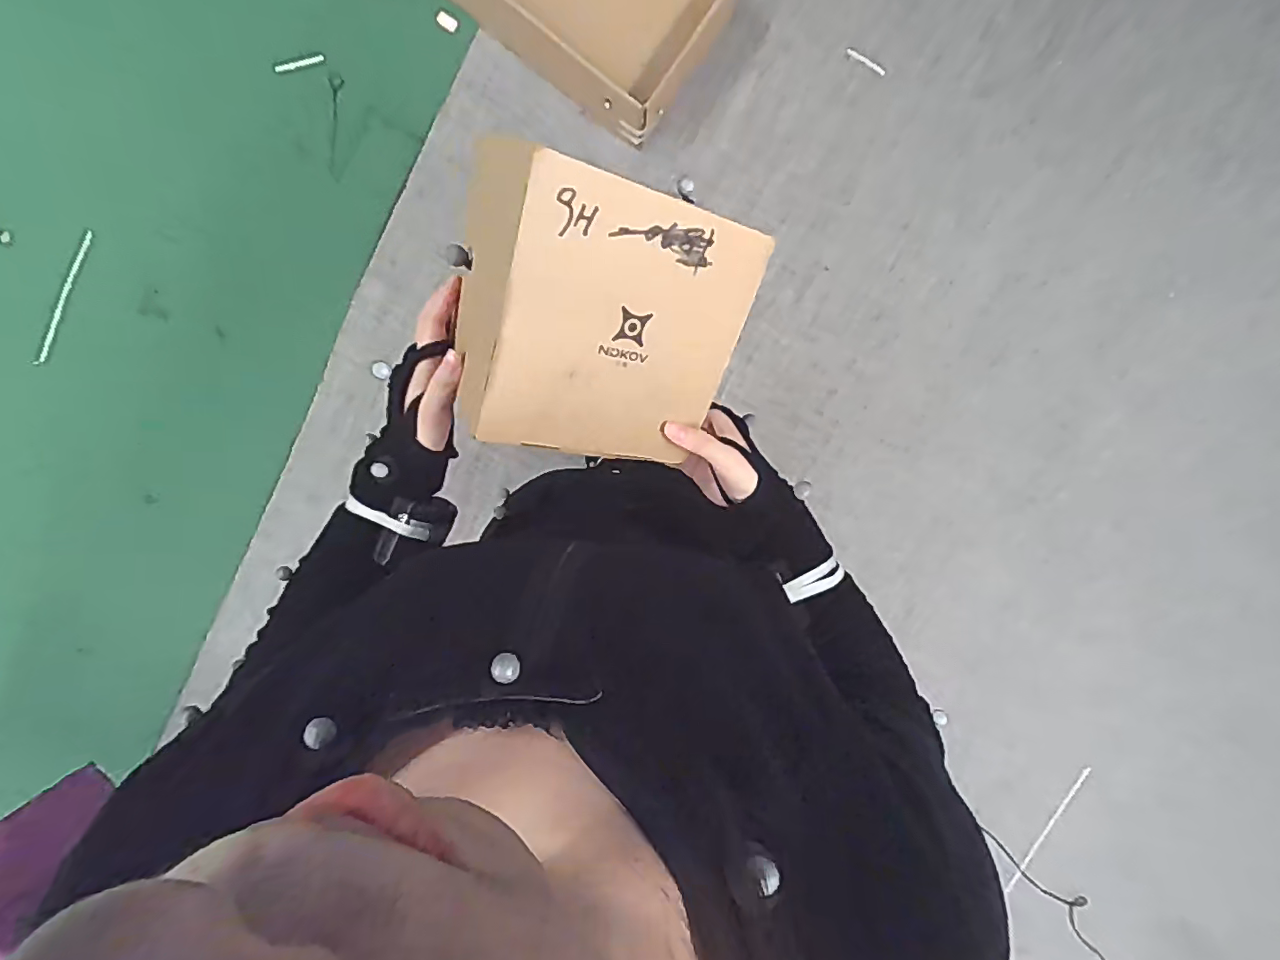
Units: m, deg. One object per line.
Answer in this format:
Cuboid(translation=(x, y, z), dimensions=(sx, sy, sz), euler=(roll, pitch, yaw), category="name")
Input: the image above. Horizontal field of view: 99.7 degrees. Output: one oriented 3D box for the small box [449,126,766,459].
Cuboid(translation=(-0.044, -0.140, 0.413), dimensions=(0.168, 0.176, 0.179), euler=(5, 121, -29), category="small box")
